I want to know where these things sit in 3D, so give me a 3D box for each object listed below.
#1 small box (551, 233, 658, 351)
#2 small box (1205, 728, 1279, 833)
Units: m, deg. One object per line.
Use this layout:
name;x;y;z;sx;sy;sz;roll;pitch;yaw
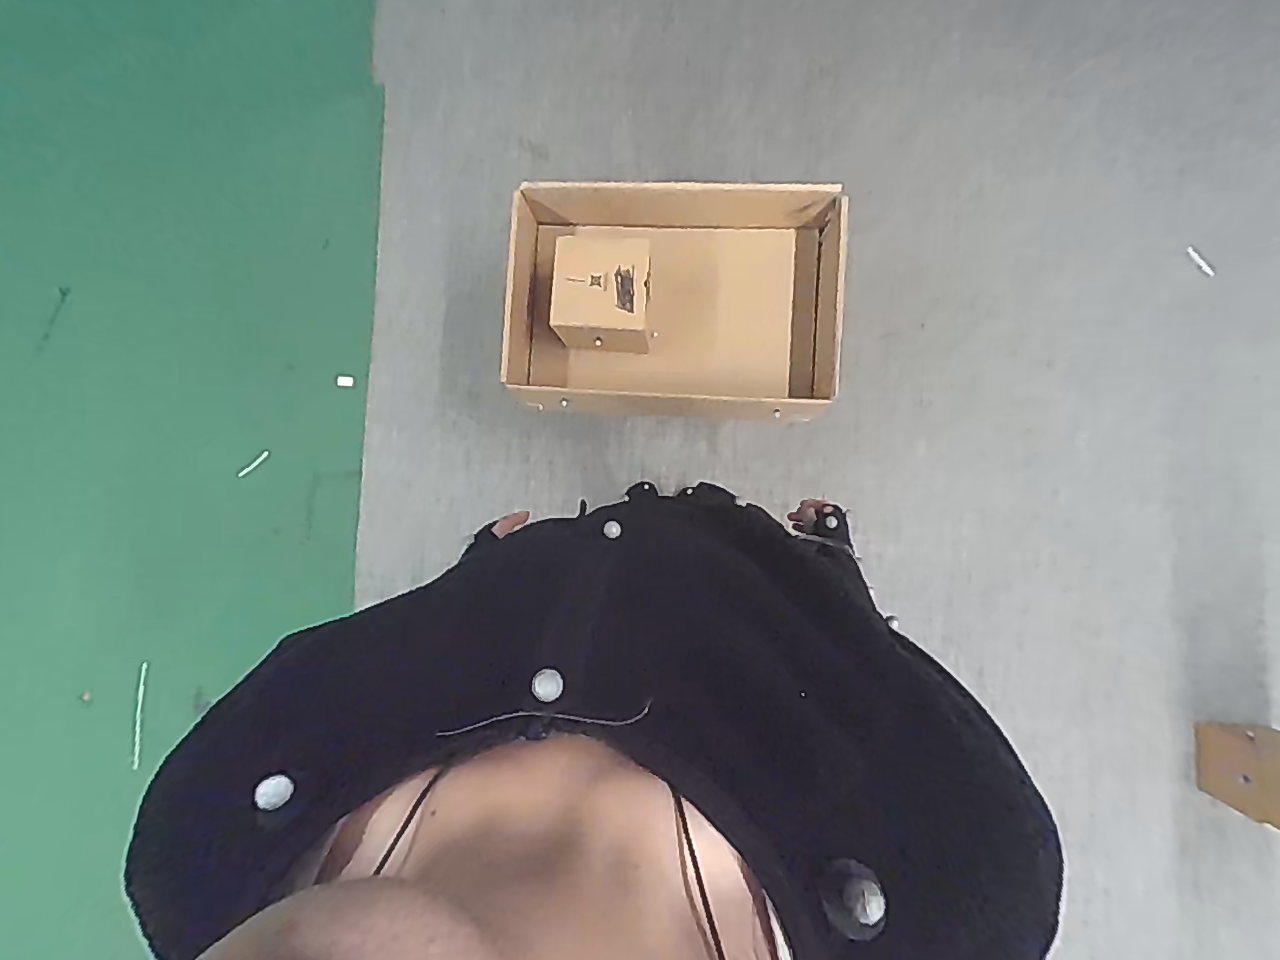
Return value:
small box;-0.060;-0.351;1.040;0.179;0.176;0.168;5;88;5
small box;1.507;0.709;1.285;0.168;0.176;0.179;1;88;5
